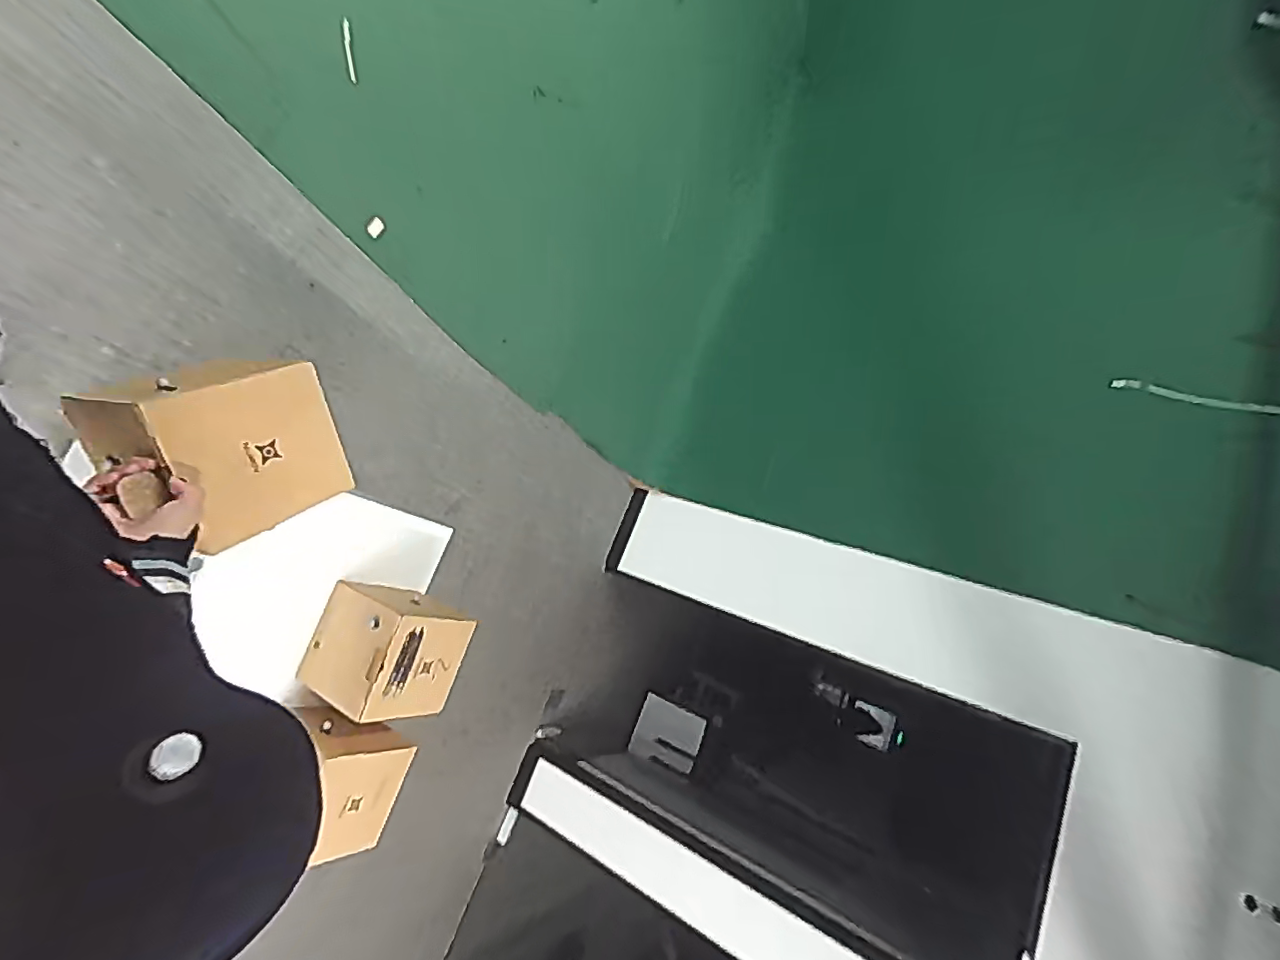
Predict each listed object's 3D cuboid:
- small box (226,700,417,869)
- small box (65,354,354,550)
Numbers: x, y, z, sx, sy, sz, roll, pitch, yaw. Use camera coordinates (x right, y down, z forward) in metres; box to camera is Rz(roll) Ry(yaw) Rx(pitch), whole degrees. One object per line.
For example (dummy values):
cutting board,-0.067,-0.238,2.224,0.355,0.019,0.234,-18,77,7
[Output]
small box,-0.509,0.470,0.869,0.179,0.176,0.168,39,70,-61
small box,-0.482,-0.045,0.625,0.179,0.176,0.168,-45,136,-52
